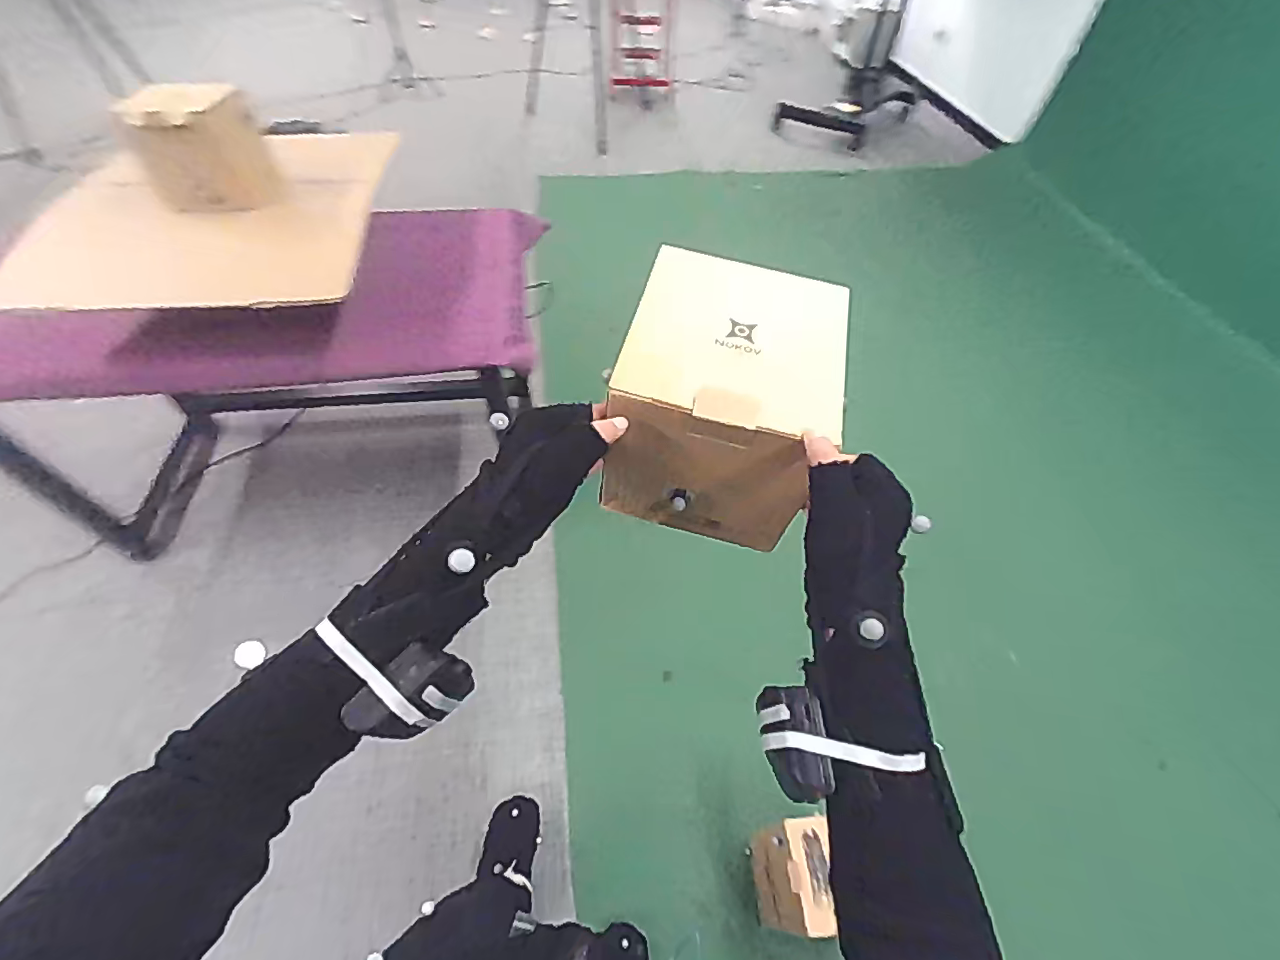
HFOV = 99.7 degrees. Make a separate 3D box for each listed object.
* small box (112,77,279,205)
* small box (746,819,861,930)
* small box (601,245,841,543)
[{"bbox_3d":[-0.846,-0.660,1.056,0.168,0.176,0.179,-3,51,-5],"label":"small box"},{"bbox_3d":[0.327,0.823,1.129,0.179,0.176,0.168,-5,53,-5],"label":"small box"},{"bbox_3d":[0.063,-0.069,0.483,0.168,0.176,0.179,14,59,1],"label":"small box"}]
